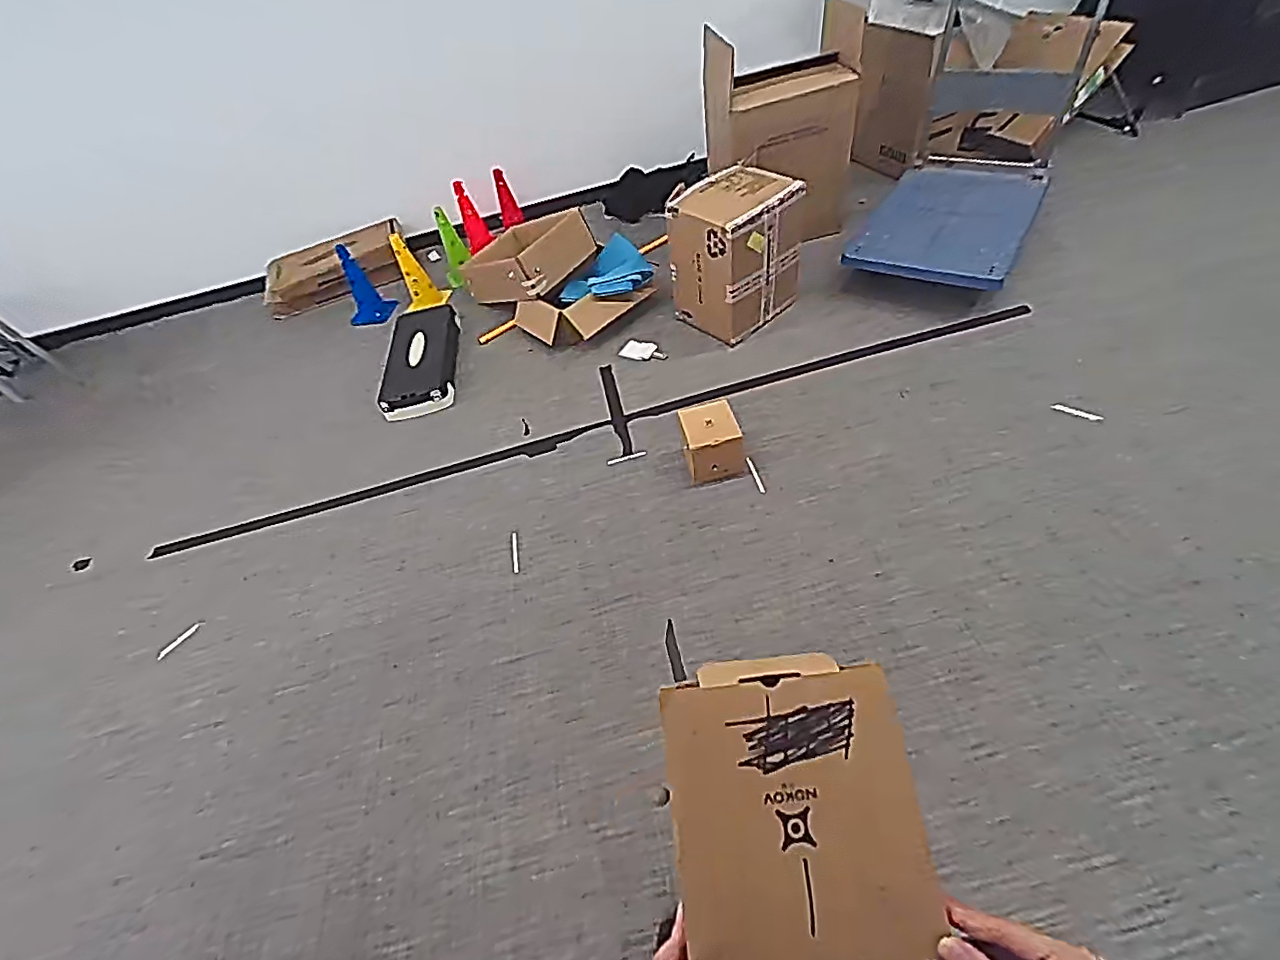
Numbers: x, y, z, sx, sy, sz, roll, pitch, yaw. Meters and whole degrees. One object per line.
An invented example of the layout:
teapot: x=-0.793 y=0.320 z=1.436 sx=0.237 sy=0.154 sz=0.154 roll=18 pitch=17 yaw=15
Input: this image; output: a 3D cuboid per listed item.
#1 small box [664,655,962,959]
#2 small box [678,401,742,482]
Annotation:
small box: x=0.108 y=0.245 z=0.430 sx=0.168 sy=0.176 sz=0.179 roll=-7 pitch=67 yaw=0
small box: x=0.225 y=-0.123 z=1.747 sx=0.168 sy=0.176 sz=0.179 roll=-15 pitch=50 yaw=-1
